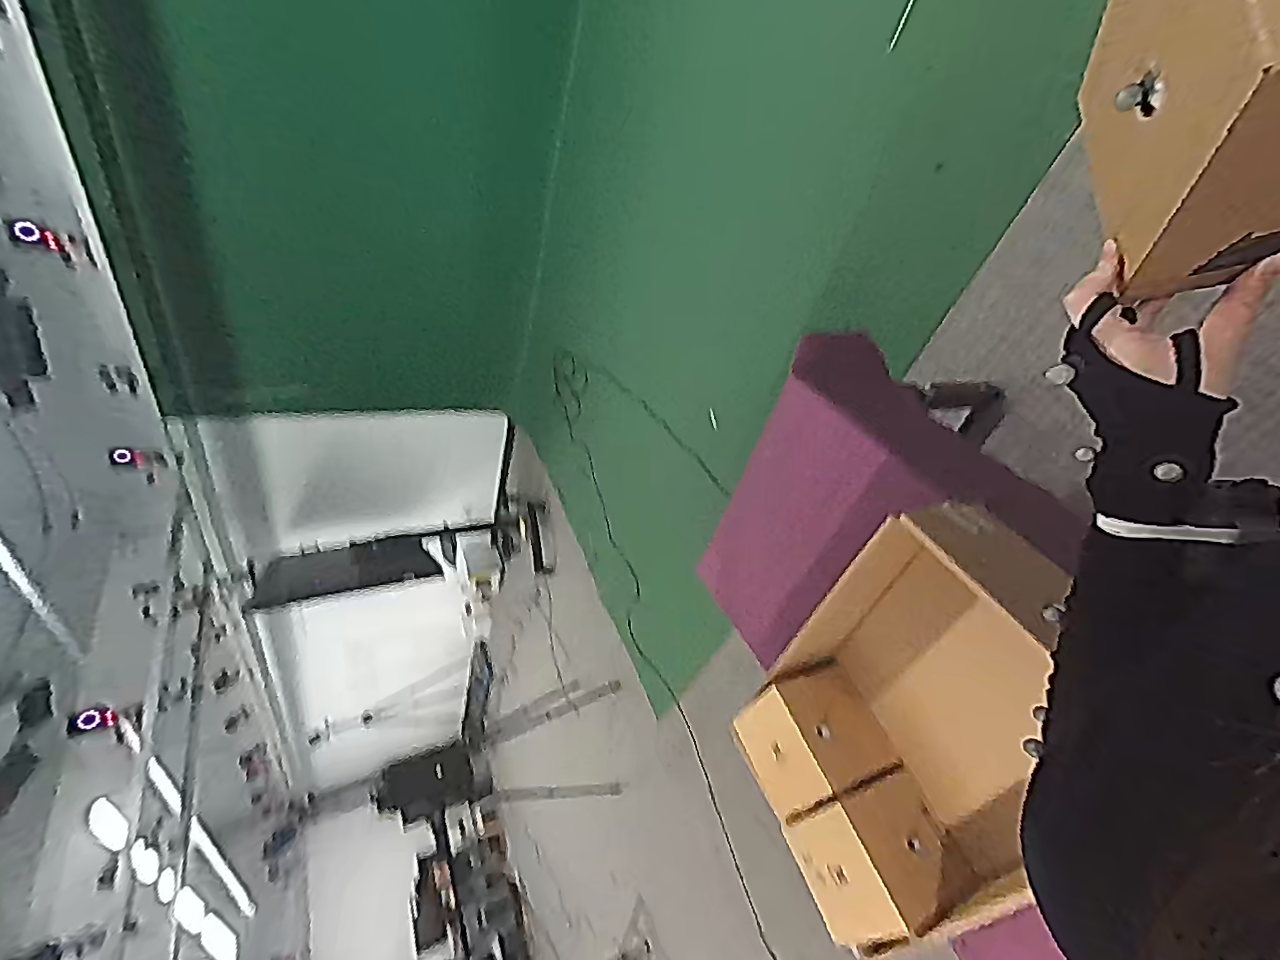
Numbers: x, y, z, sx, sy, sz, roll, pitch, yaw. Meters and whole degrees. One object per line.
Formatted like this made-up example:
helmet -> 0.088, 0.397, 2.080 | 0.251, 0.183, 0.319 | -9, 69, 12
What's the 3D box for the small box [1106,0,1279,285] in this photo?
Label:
small box -> 0.358, -0.228, 0.263 | 0.168, 0.179, 0.176 | -3, 76, 27
